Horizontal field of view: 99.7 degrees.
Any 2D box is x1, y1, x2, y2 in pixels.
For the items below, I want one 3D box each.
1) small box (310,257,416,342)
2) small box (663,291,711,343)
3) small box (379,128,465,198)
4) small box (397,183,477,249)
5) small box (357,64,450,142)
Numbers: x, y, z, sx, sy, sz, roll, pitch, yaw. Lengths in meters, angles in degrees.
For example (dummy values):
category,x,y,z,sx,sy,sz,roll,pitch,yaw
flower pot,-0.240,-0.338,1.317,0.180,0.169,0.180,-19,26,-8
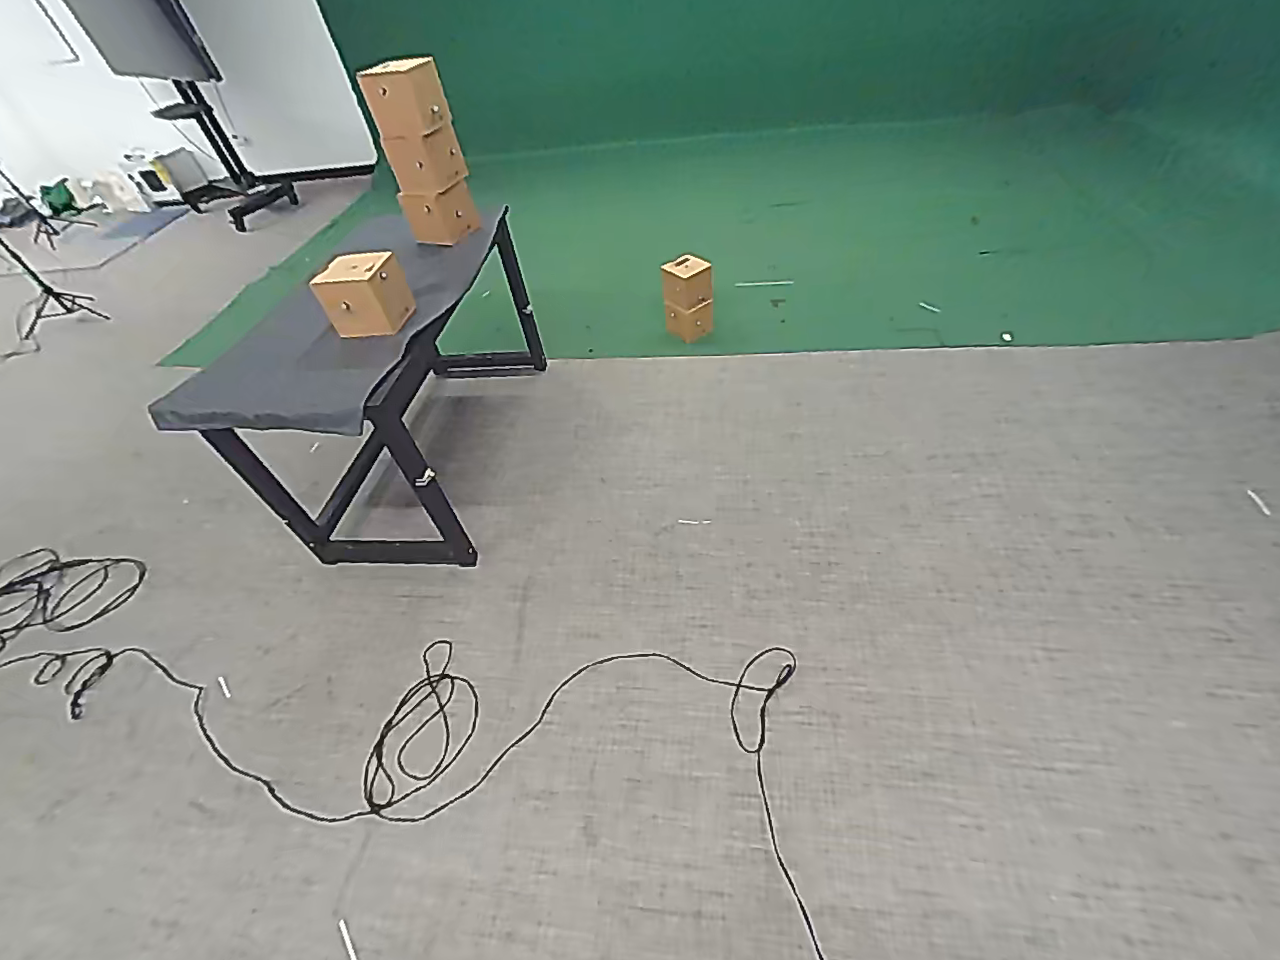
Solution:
category,x,y,z,sx,sy,sz,roll,pitch,yaw
small box,-0.774,-0.507,1.532,0.179,0.176,0.168,-1,47,10
small box,0.236,-0.791,2.643,0.168,0.176,0.179,-34,50,-21
small box,-0.720,-1.062,1.812,0.179,0.176,0.168,10,49,21
small box,-0.711,-0.939,1.918,0.179,0.176,0.168,14,51,24
small box,-0.735,-1.179,1.697,0.179,0.176,0.168,6,48,15
